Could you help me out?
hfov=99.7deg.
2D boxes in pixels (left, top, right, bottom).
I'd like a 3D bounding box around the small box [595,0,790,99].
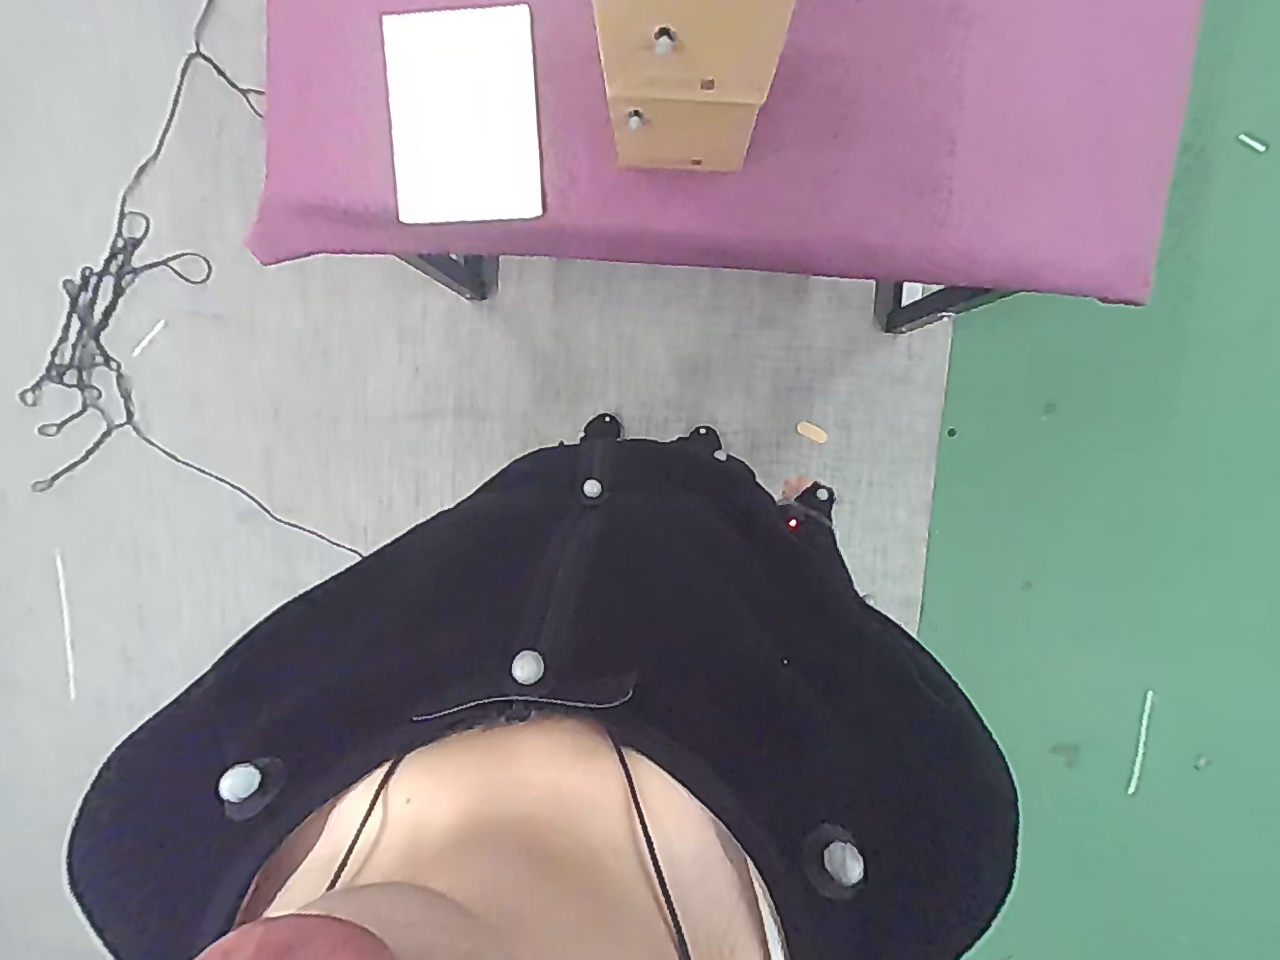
[{"bbox_3d":[0.052,-0.476,0.478,0.168,0.176,0.179,5,95,2],"label":"small box"}]
